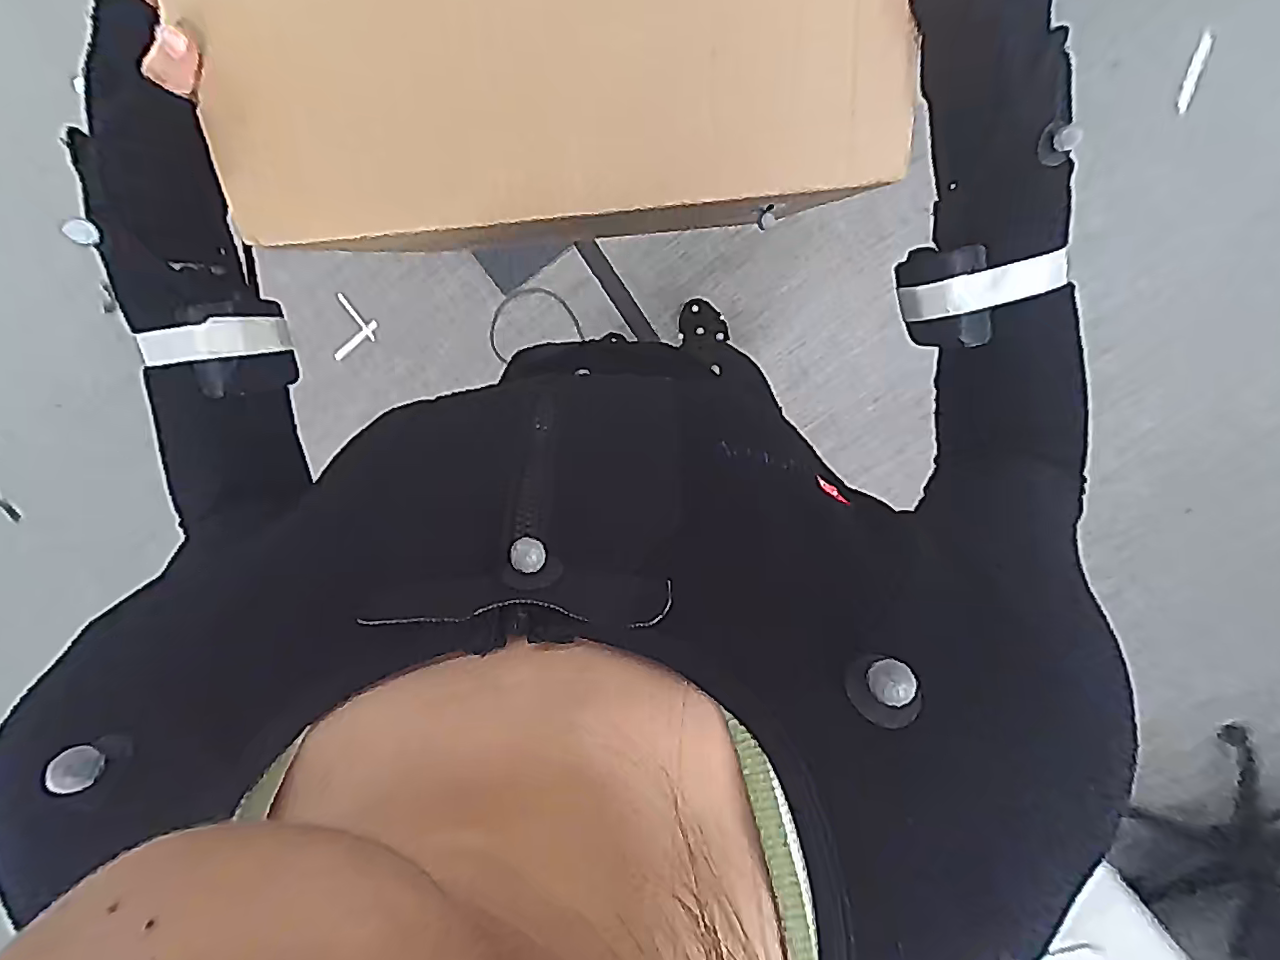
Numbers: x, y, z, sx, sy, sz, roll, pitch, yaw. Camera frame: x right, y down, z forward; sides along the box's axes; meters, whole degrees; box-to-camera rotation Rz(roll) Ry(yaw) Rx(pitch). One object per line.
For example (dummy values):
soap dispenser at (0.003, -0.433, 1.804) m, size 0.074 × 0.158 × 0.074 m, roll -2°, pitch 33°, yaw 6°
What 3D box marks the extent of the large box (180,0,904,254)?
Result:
large box at (-0.058, -0.365, 0.418) m, size 0.408 × 0.320 × 0.320 m, roll -6°, pitch 112°, yaw 1°
